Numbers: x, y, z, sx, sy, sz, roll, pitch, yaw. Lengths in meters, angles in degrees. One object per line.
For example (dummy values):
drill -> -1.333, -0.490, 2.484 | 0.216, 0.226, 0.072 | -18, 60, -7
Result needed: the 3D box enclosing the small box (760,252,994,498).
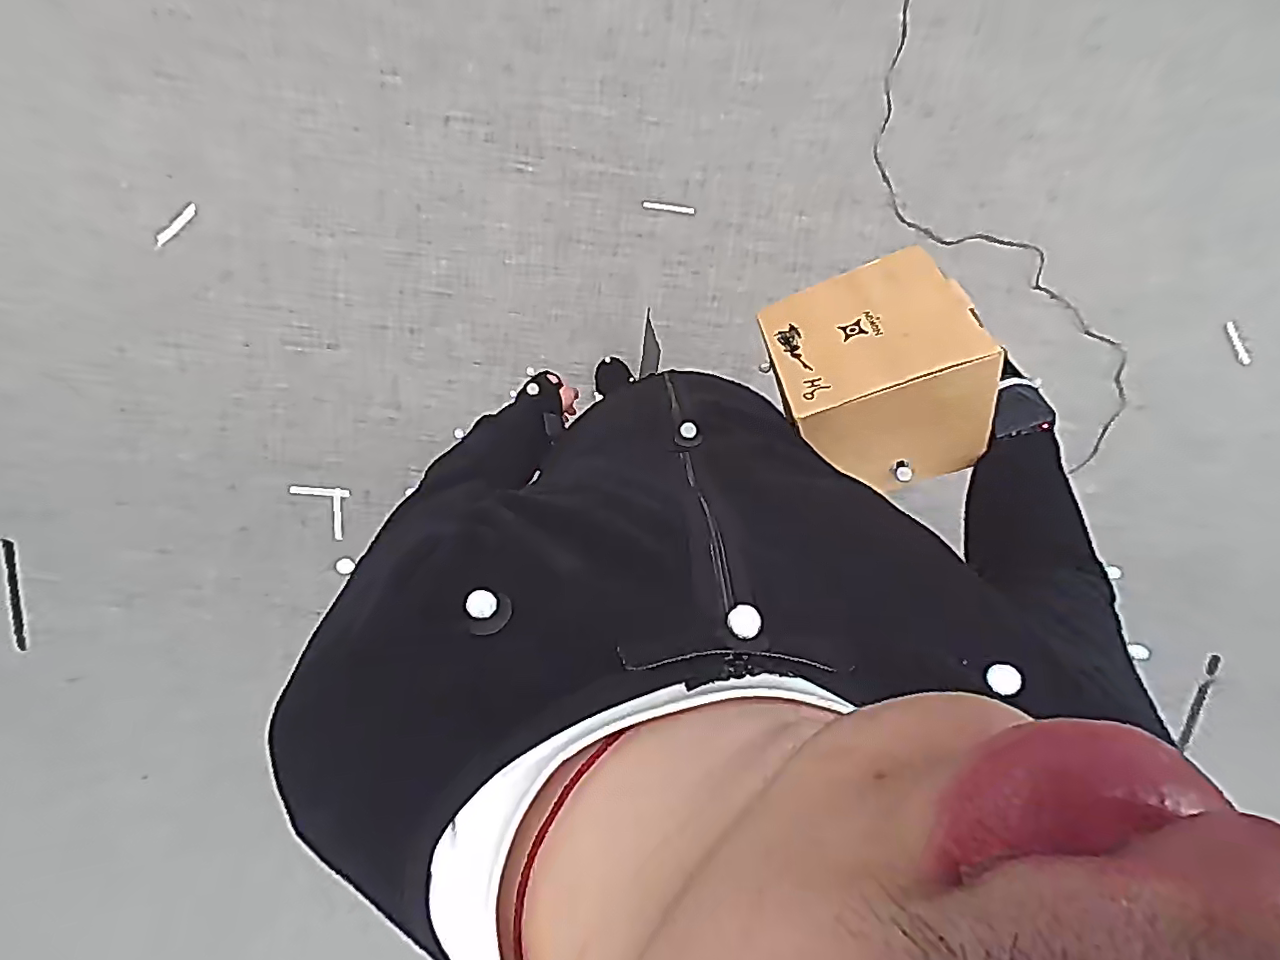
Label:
small box -> 0.248, -0.105, 0.594 | 0.179, 0.168, 0.176 | -18, 141, 14
